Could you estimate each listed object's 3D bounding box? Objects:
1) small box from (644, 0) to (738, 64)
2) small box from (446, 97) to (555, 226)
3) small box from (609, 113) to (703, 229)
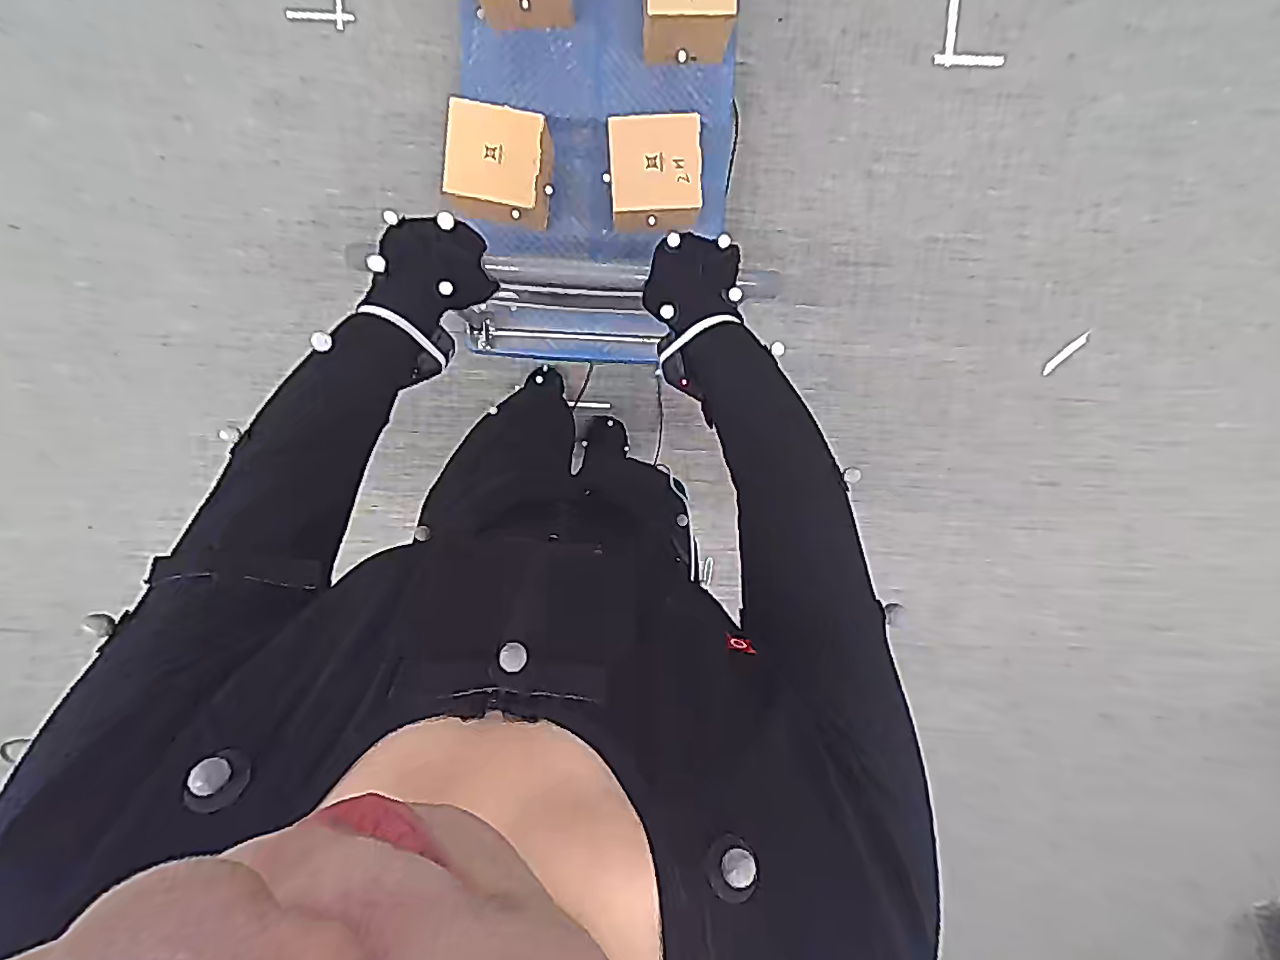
[{"bbox_3d":[0.094,-0.951,1.047,0.168,0.176,0.179,-1,102,-1],"label":"small box"},{"bbox_3d":[-0.275,-0.634,1.098,0.179,0.176,0.168,8,100,-5],"label":"small box"},{"bbox_3d":[0.031,-0.624,1.110,0.179,0.176,0.168,-3,101,-1],"label":"small box"}]
